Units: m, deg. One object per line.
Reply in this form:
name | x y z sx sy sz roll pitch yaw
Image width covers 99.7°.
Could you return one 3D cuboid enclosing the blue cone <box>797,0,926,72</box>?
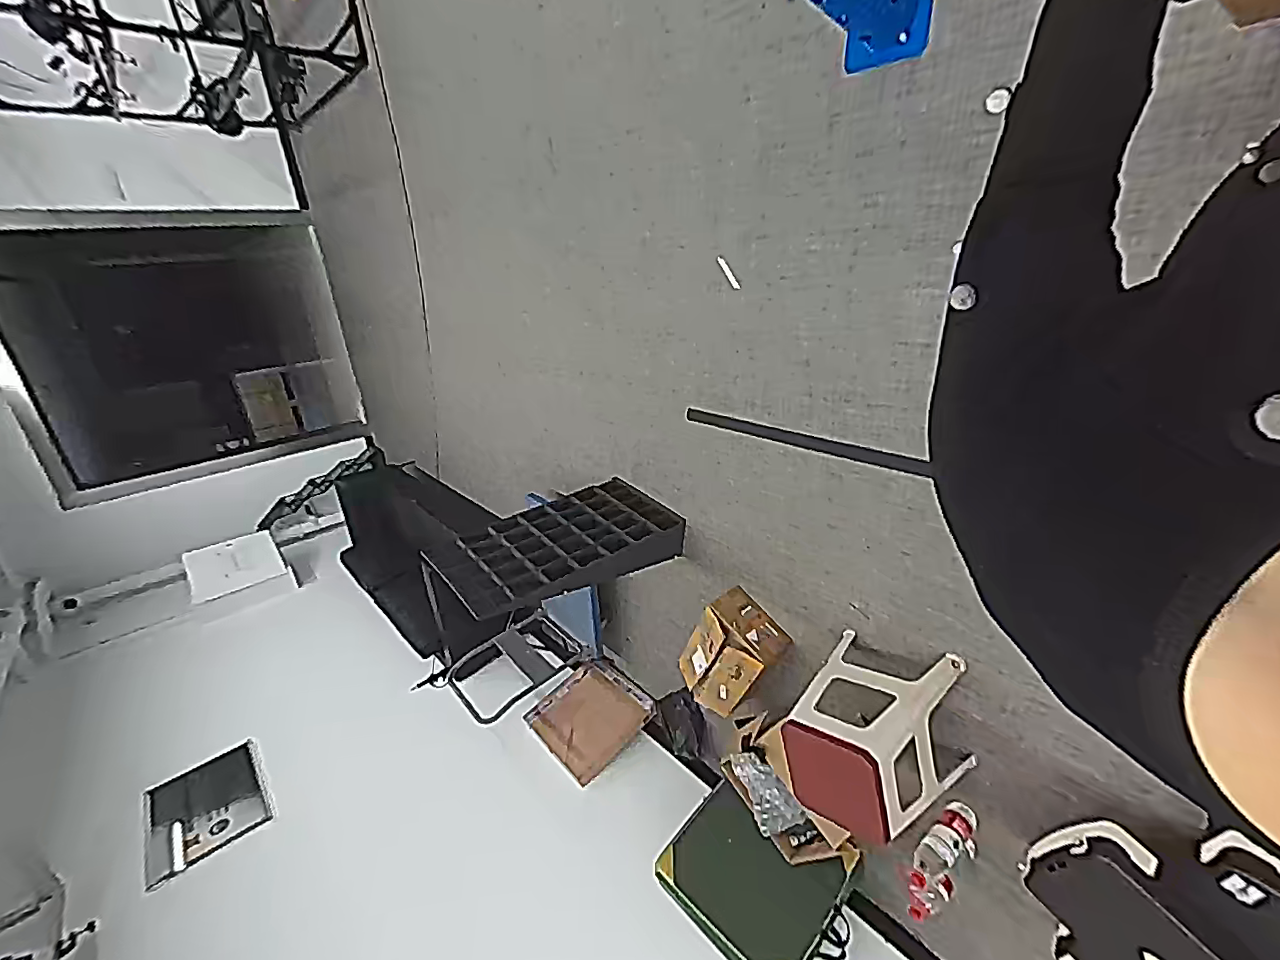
blue cone | 0.443 -1.028 1.156 0.192 0.380 0.193 26 127 44
